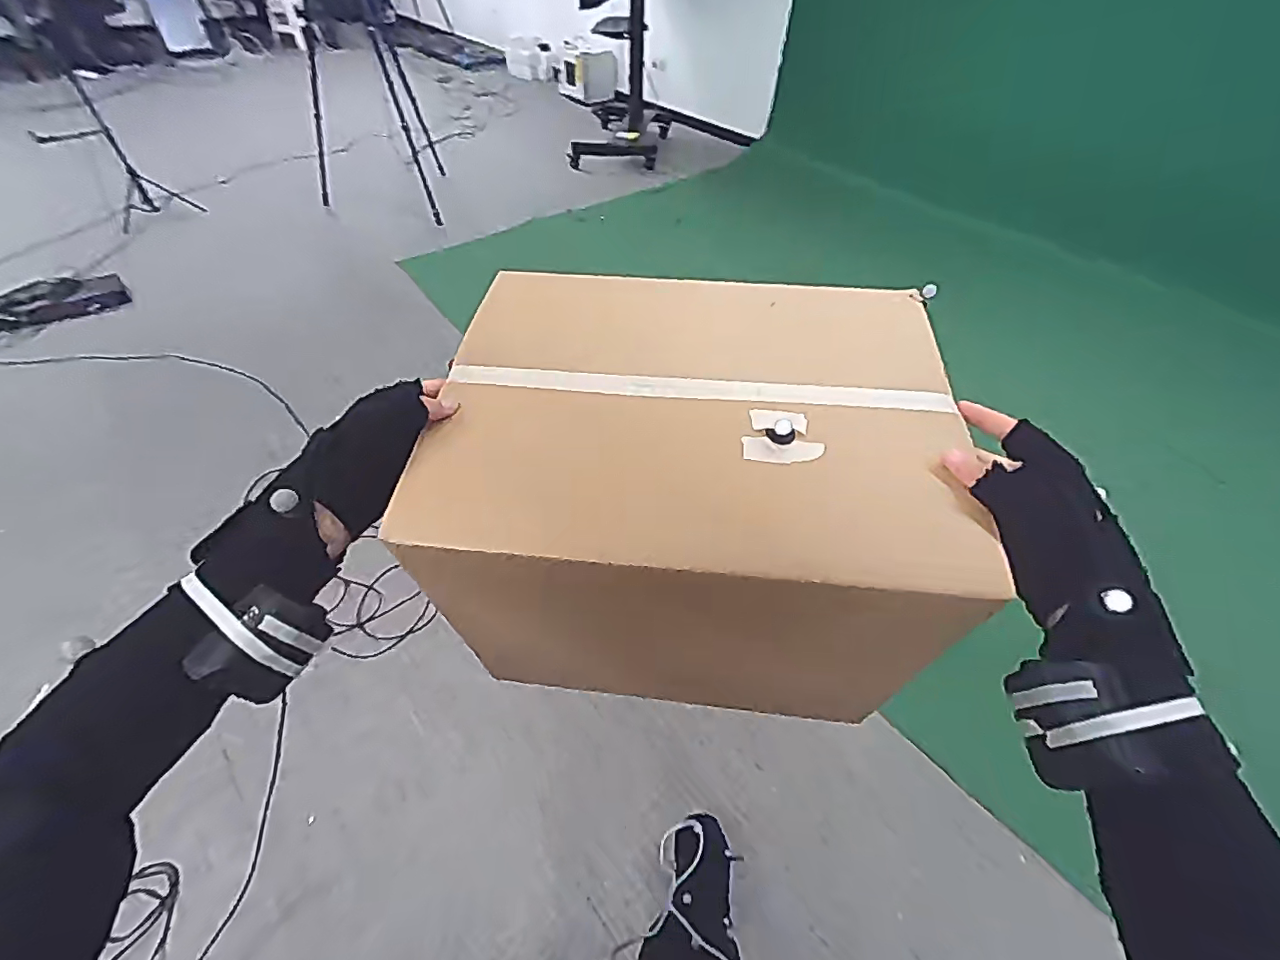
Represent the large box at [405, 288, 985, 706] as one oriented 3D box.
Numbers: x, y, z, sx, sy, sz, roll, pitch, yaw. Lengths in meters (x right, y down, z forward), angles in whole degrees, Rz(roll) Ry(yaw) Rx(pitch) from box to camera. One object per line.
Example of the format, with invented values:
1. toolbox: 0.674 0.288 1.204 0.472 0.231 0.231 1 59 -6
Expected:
1. large box: 0.044 0.024 0.572 0.408 0.320 0.320 5 53 4
